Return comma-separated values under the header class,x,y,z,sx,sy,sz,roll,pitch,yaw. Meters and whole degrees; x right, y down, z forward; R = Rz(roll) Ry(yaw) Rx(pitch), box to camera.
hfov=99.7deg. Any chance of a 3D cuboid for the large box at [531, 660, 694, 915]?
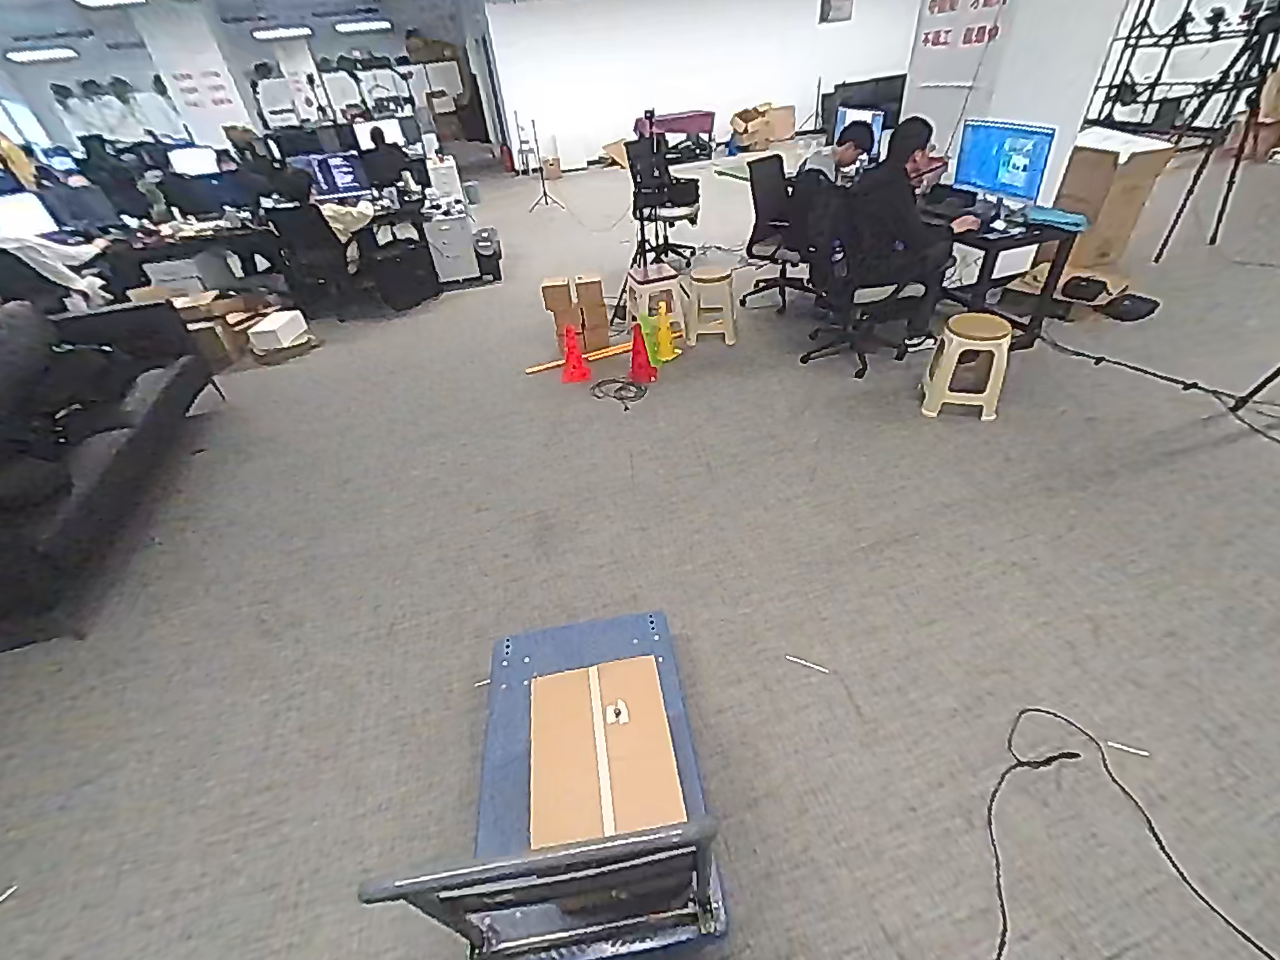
class,x,y,z,sx,sy,sz,roll,pitch,yaw
large box,-0.071,0.709,1.274,0.320,0.320,0.408,-9,38,-4
